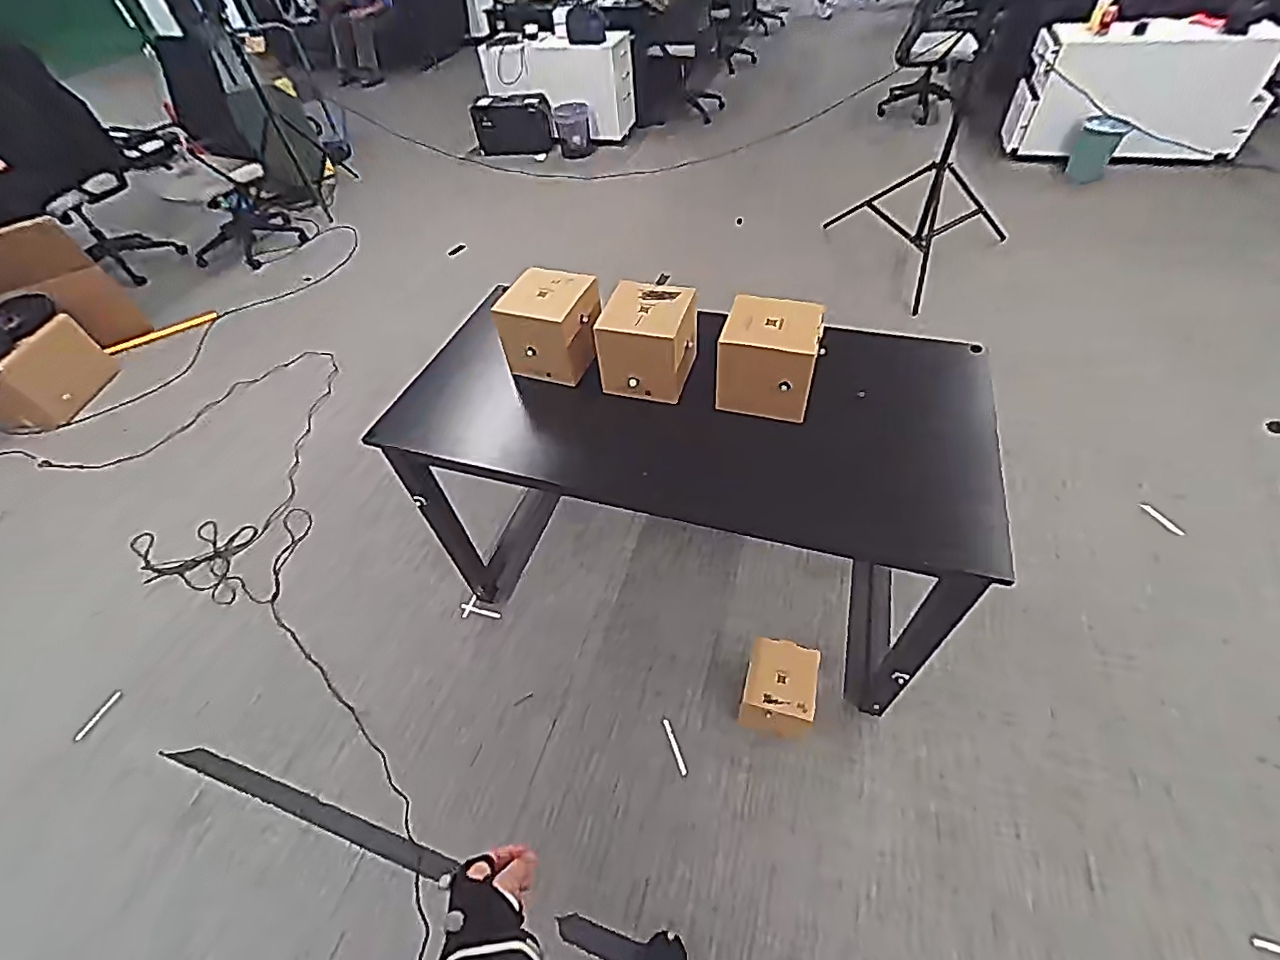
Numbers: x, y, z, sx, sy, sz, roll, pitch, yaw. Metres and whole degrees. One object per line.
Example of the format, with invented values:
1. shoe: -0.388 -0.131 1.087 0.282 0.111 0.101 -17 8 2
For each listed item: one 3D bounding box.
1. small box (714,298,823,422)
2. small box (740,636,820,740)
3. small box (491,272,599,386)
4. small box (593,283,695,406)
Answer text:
1. small box: 0.251 -0.236 1.072 0.179 0.176 0.168 11 51 16
2. small box: 0.351 0.528 1.370 0.168 0.176 0.179 10 51 15
3. small box: -0.196 -0.331 1.194 0.168 0.176 0.179 14 53 16
4. small box: 0.015 -0.284 1.133 0.168 0.176 0.179 11 53 14
